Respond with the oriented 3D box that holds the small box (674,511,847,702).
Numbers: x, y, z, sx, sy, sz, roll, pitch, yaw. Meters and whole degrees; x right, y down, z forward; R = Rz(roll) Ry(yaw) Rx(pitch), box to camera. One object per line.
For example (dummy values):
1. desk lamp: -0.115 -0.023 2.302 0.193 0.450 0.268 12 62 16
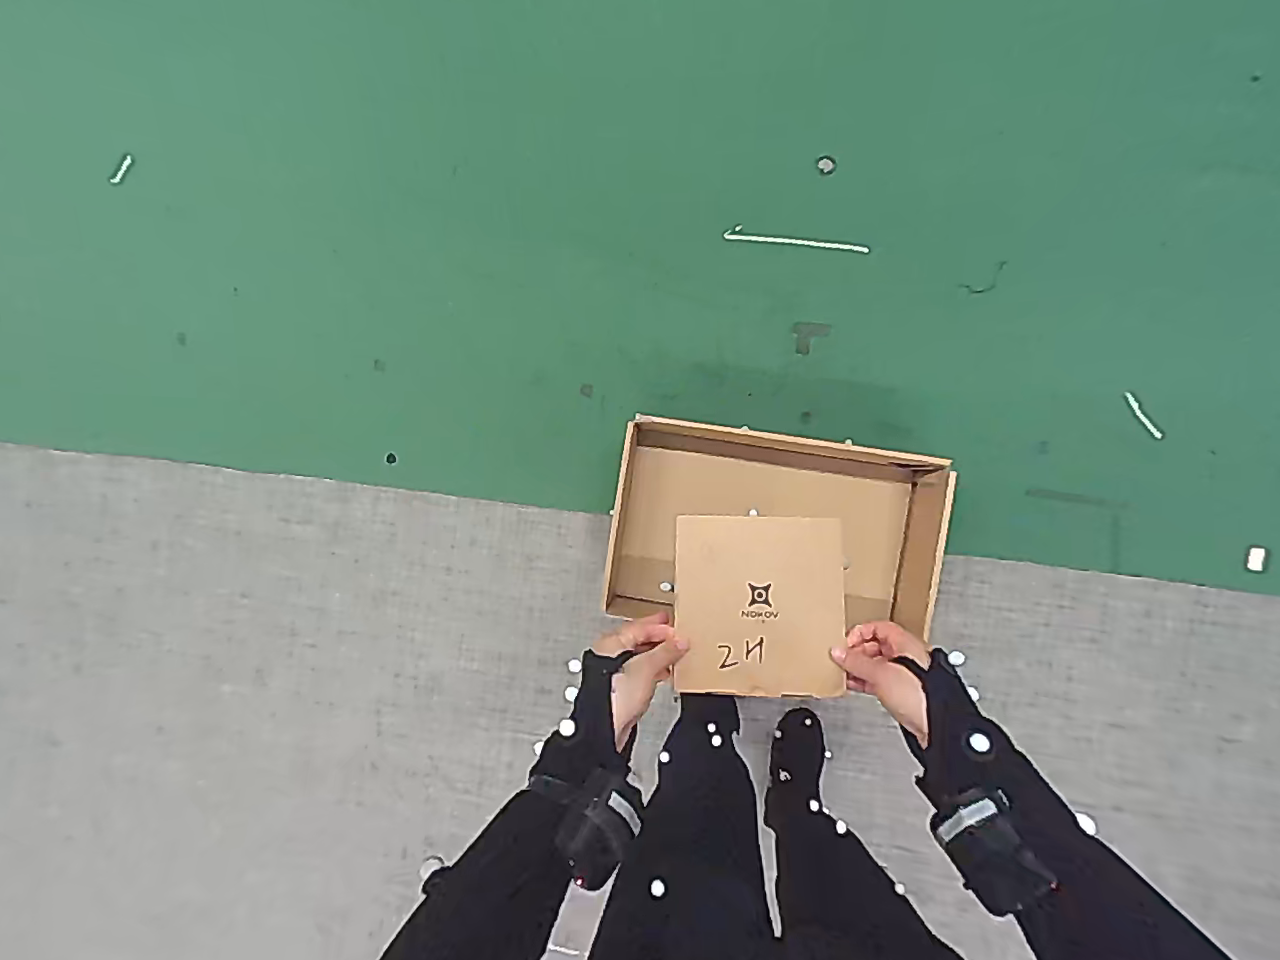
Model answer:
1. small box: 0.124 0.133 0.605 0.168 0.176 0.179 2 82 6
